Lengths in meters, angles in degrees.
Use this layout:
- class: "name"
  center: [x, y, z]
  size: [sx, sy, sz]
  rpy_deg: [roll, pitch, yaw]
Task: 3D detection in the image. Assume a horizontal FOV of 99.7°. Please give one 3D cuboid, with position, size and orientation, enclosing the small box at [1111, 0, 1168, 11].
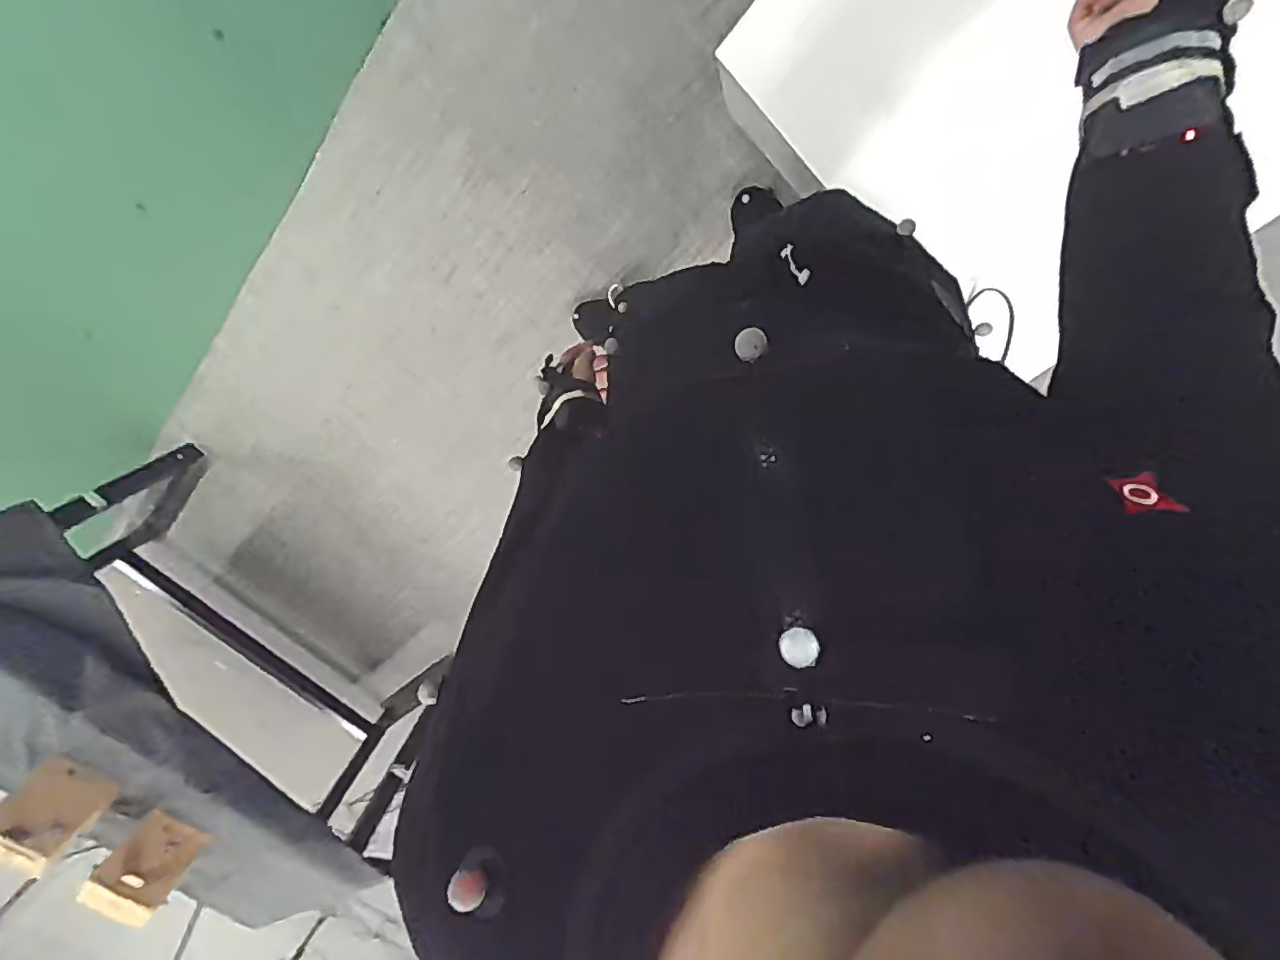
- class: "small box"
  center: [0.394, -0.467, 0.361]
  size: [0.168, 0.176, 0.179]
  rpy_deg: [27, 121, -7]

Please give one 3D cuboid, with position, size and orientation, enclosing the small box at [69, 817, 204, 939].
- class: "small box"
  center: [-1.223, 0.969, 1.323]
  size: [0.168, 0.176, 0.179]
  rpy_deg: [38, 118, -11]
